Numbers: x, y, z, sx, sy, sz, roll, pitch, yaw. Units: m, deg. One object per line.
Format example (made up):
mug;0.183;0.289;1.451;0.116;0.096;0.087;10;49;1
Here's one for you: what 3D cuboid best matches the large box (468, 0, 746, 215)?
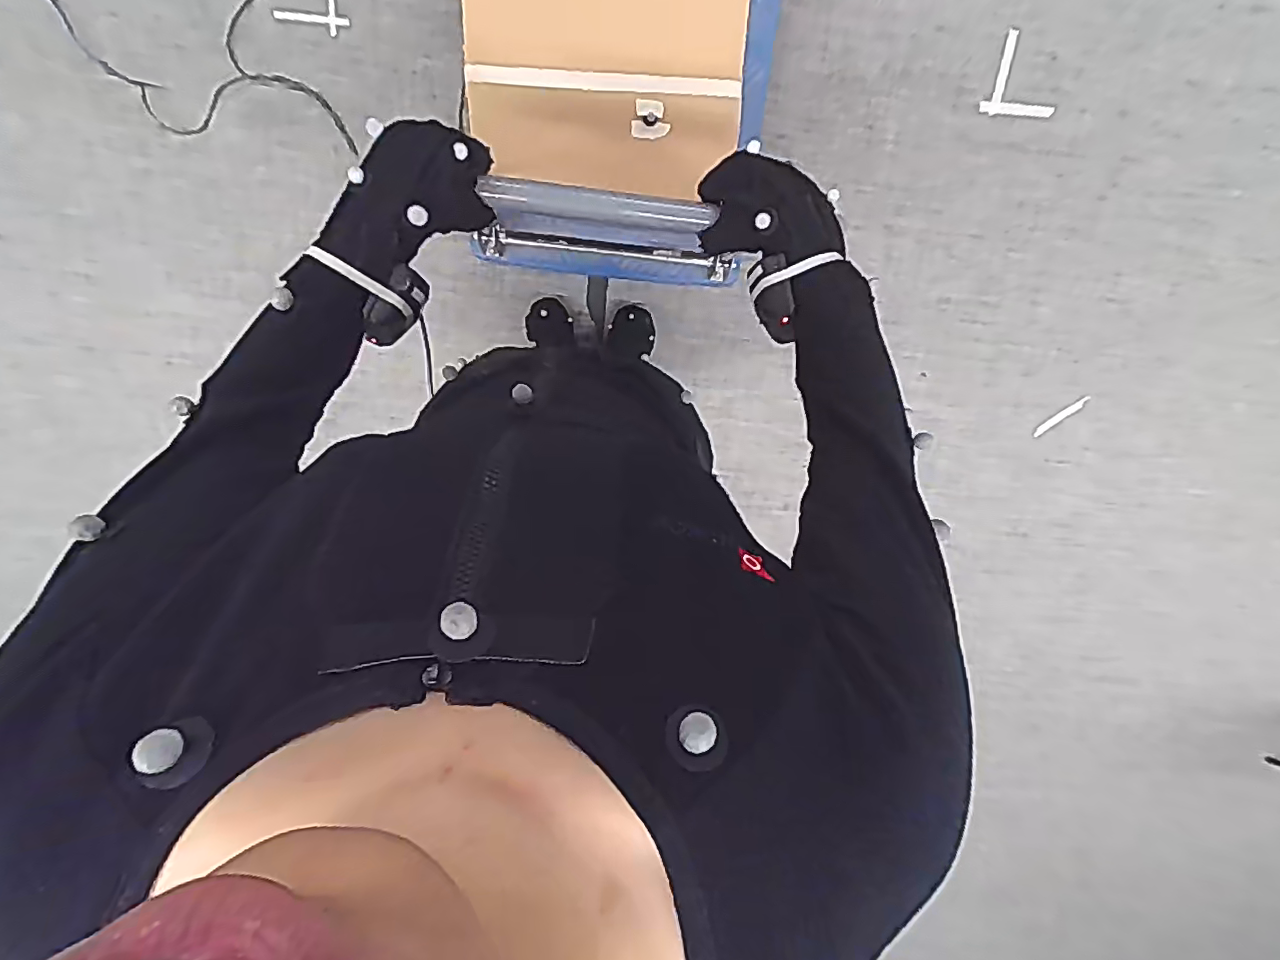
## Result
large box;-0.058;-0.653;0.944;0.408;0.320;0.320;0;112;-4
